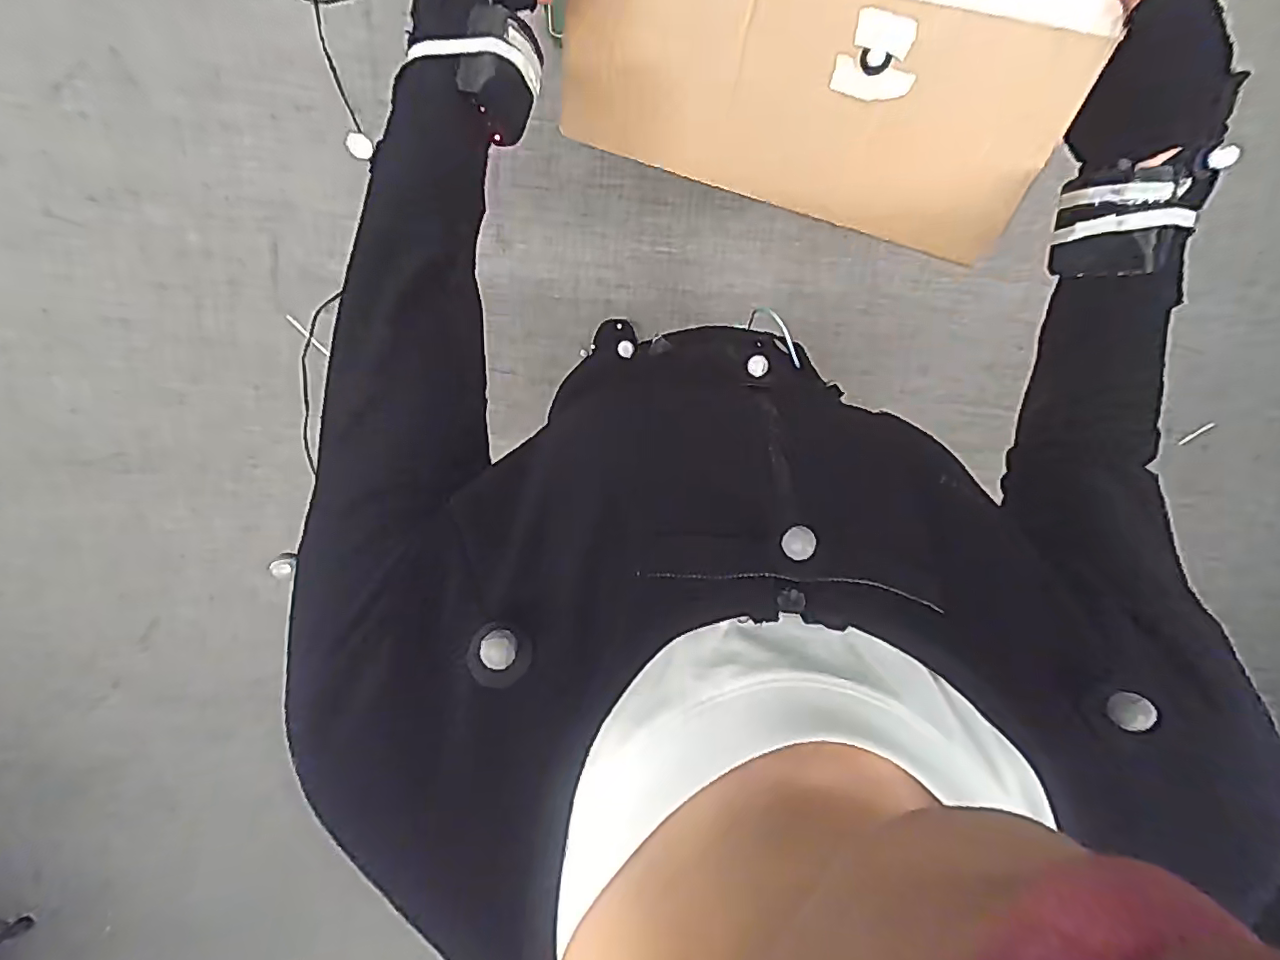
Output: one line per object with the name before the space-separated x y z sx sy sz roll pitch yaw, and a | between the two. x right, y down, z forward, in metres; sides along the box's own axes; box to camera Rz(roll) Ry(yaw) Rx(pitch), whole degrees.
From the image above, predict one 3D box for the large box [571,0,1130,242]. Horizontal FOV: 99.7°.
large box | 0.193 -0.459 0.491 0.408 0.320 0.320 24 133 13
